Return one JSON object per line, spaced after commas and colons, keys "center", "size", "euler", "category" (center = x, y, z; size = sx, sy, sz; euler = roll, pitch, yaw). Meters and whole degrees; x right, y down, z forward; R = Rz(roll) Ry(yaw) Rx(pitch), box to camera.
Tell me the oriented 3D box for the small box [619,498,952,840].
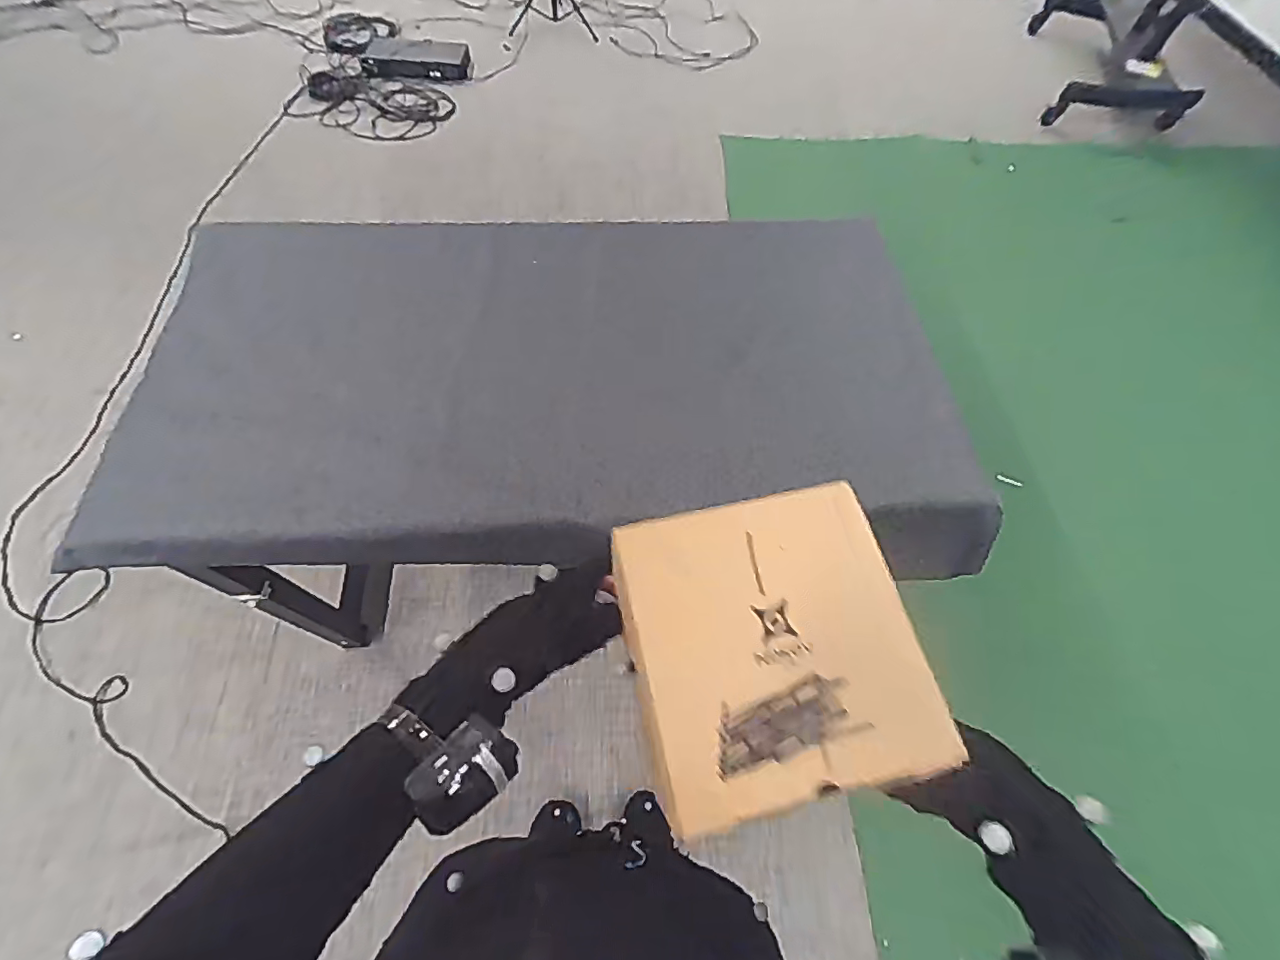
{"center": [0.080, 0.135, 0.404], "size": [0.168, 0.176, 0.179], "euler": [-10, 66, -7], "category": "small box"}
